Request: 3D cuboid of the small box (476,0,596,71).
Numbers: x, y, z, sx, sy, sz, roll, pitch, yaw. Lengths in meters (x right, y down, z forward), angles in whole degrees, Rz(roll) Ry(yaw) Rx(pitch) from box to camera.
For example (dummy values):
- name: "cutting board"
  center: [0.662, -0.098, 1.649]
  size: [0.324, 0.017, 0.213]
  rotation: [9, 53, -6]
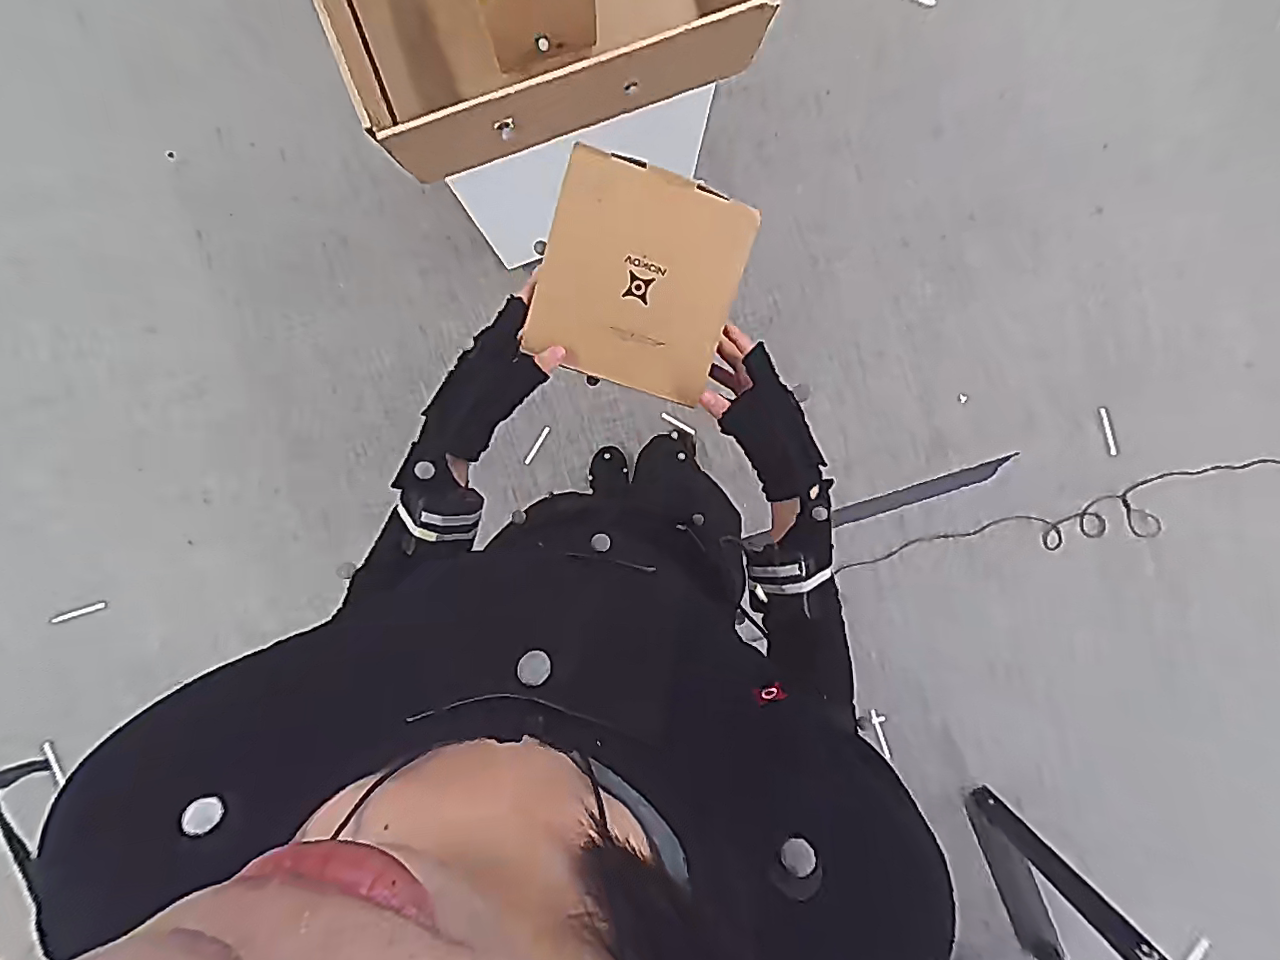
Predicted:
- name: "small box"
  center: [-0.165, -0.739, 0.768]
  size: [0.168, 0.176, 0.179]
  rotation: [-18, 99, 0]

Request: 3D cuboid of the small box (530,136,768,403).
- name: "small box"
  center: [0.000, -0.191, 0.533]
  size: [0.168, 0.176, 0.179]
  rotation: [16, 103, -8]
